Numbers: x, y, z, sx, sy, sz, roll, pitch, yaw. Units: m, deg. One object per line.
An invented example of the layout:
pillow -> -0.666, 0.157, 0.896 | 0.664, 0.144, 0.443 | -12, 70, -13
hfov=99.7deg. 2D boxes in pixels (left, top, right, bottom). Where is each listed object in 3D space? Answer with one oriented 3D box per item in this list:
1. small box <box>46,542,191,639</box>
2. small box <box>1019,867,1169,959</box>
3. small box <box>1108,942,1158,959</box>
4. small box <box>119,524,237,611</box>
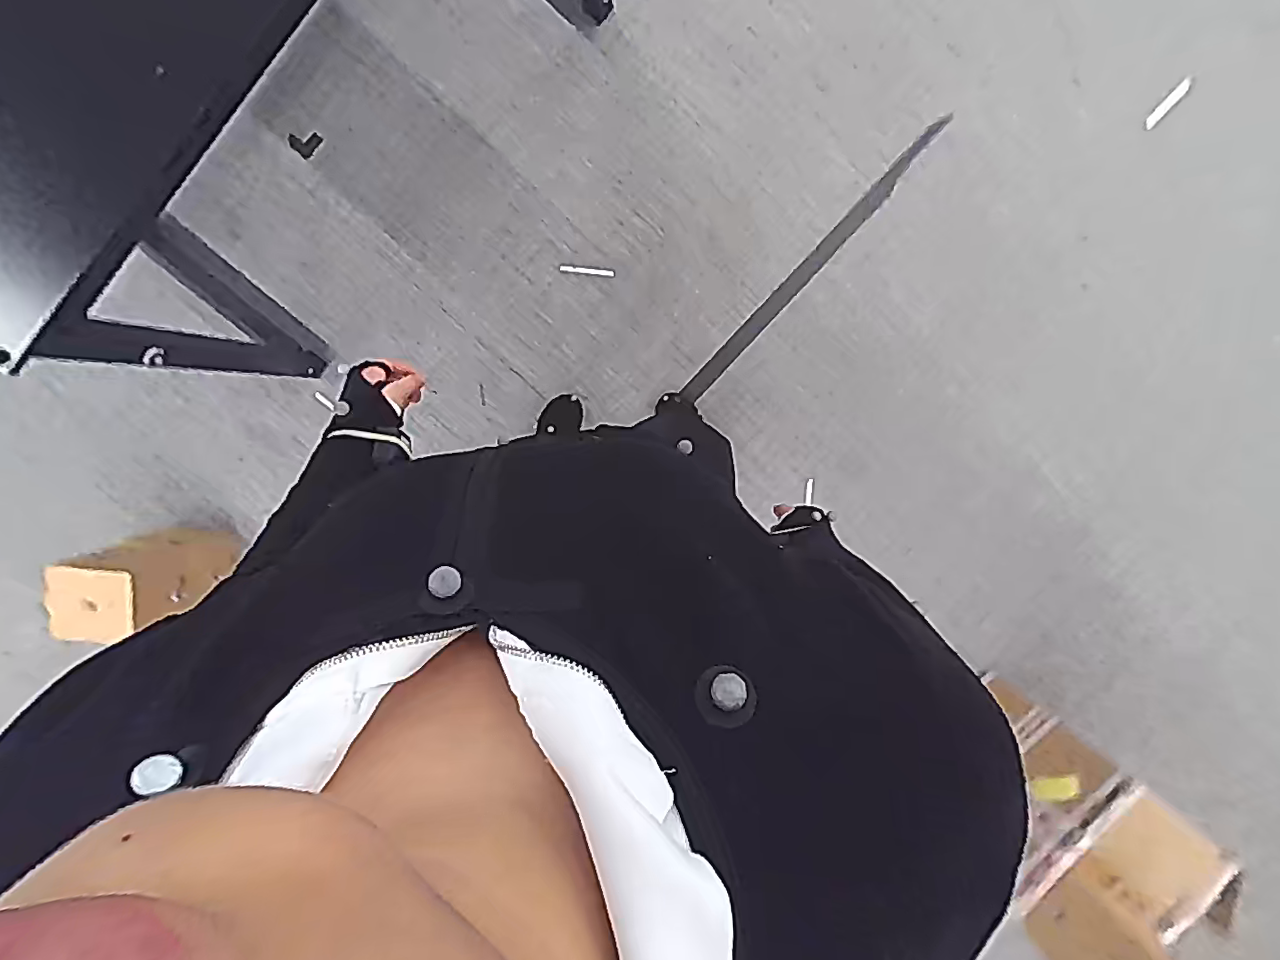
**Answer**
small box -> -1.183, 0.246, 1.239 | 0.179, 0.176, 0.168 | 5, 99, -4
small box -> 0.917, 0.947, 1.091 | 0.168, 0.176, 0.179 | 35, 97, -2
small box -> 0.910, 0.961, 0.926 | 0.168, 0.176, 0.179 | 35, 96, -2
small box -> -1.189, 0.219, 1.399 | 0.179, 0.176, 0.168 | 10, 97, -3
